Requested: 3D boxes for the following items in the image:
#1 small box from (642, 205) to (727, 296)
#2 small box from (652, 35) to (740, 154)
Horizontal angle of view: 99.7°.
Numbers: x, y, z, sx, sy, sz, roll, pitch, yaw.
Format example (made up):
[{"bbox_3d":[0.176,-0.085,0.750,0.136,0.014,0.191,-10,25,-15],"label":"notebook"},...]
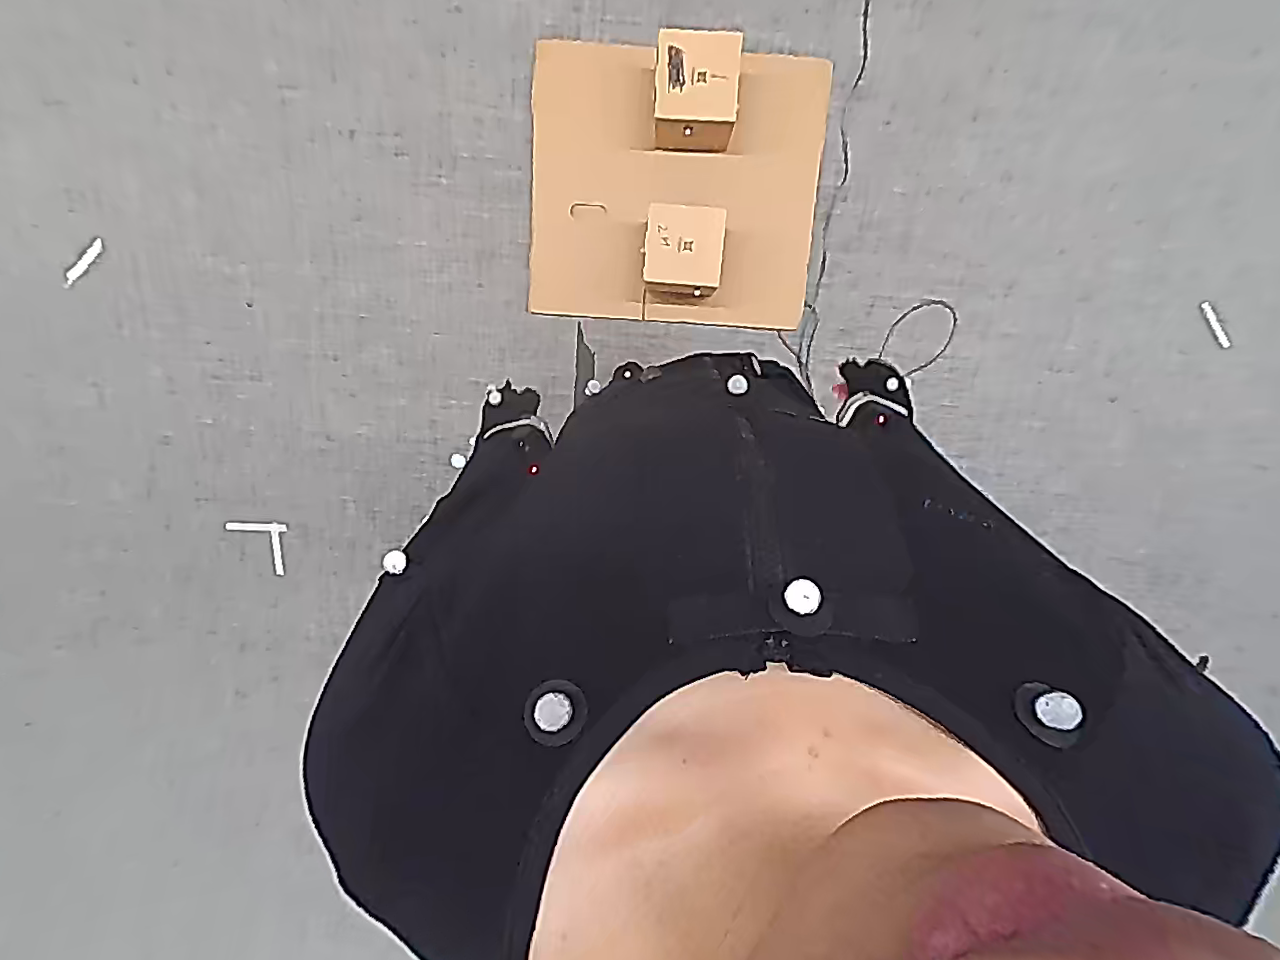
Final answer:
[{"bbox_3d":[0.102,-0.535,1.283,0.179,0.176,0.168,6,102,2],"label":"small box"},{"bbox_3d":[0.120,-0.854,1.213,0.179,0.176,0.168,3,103,1],"label":"small box"}]
